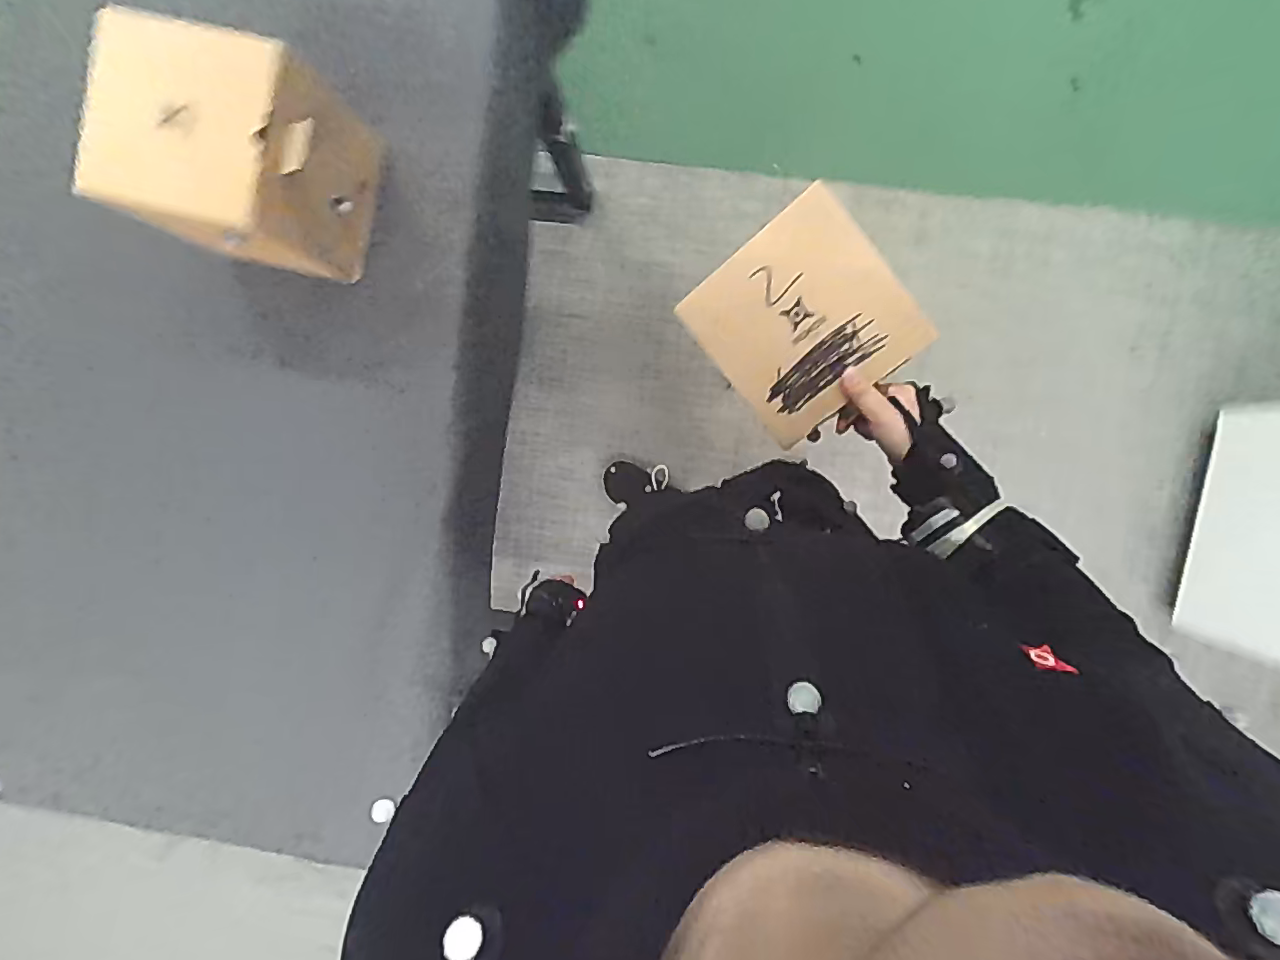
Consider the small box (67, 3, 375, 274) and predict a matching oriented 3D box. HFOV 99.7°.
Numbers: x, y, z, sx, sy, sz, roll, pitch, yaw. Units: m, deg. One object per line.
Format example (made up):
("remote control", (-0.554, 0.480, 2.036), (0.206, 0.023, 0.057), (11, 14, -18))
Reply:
("small box", (-0.415, -0.332, 0.562), (0.179, 0.176, 0.168), (13, 94, 3))
